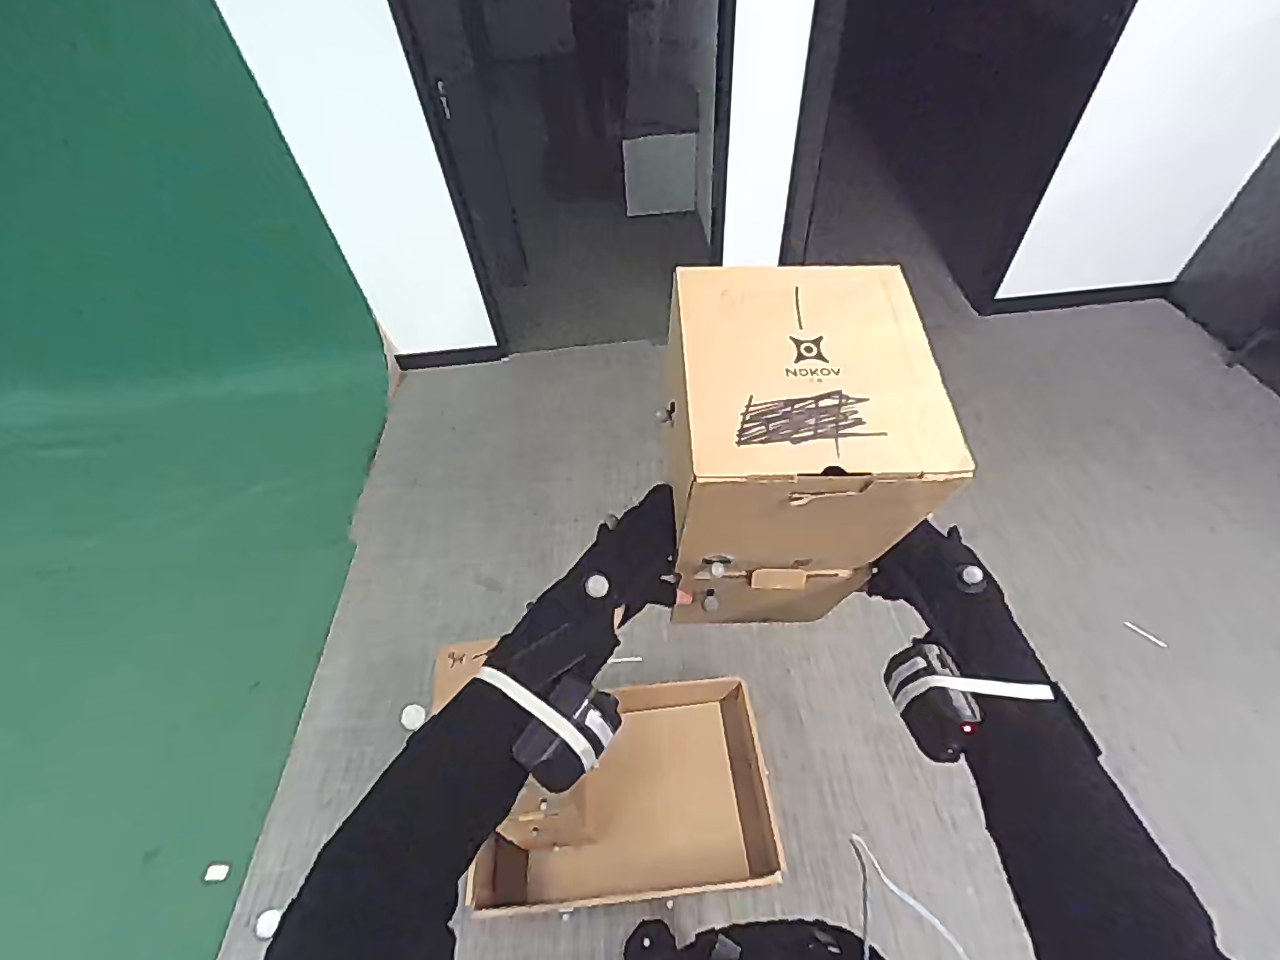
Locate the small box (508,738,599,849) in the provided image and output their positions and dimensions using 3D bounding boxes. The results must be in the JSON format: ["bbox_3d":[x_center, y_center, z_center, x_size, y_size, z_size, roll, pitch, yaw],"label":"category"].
[{"bbox_3d":[-0.181,0.686,1.181,0.168,0.176,0.179,-5,49,0],"label":"small box"}]

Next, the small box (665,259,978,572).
[{"bbox_3d":[0.109,-0.037,0.411,0.168,0.176,0.179,3,63,-2],"label":"small box"}]

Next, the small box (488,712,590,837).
[{"bbox_3d":[-0.189,0.578,1.060,0.168,0.176,0.179,-5,49,-1],"label":"small box"}]

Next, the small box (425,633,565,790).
[{"bbox_3d":[-0.206,0.356,0.819,0.168,0.176,0.179,-6,50,-3],"label":"small box"}]

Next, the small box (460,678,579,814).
[{"bbox_3d":[-0.199,0.466,0.940,0.168,0.176,0.179,-6,49,-3],"label":"small box"}]
